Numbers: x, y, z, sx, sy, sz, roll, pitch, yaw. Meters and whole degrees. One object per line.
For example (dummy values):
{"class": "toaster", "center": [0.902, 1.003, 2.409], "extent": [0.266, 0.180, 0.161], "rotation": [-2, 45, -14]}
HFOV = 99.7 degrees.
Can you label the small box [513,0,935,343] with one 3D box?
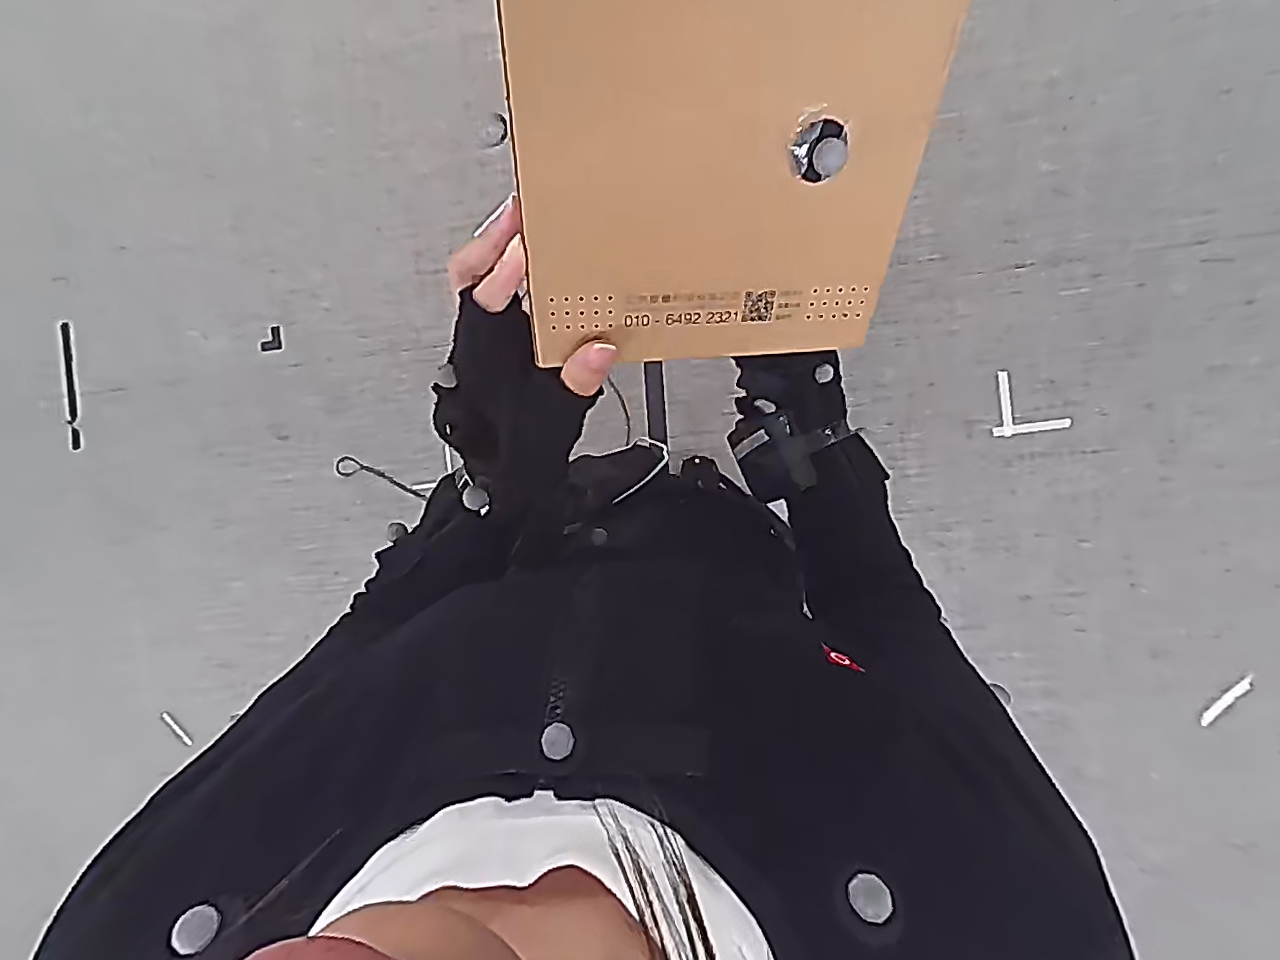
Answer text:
{"class": "small box", "center": [0.024, -0.184, 0.294], "extent": [0.168, 0.179, 0.176], "rotation": [-4, 131, -8]}
